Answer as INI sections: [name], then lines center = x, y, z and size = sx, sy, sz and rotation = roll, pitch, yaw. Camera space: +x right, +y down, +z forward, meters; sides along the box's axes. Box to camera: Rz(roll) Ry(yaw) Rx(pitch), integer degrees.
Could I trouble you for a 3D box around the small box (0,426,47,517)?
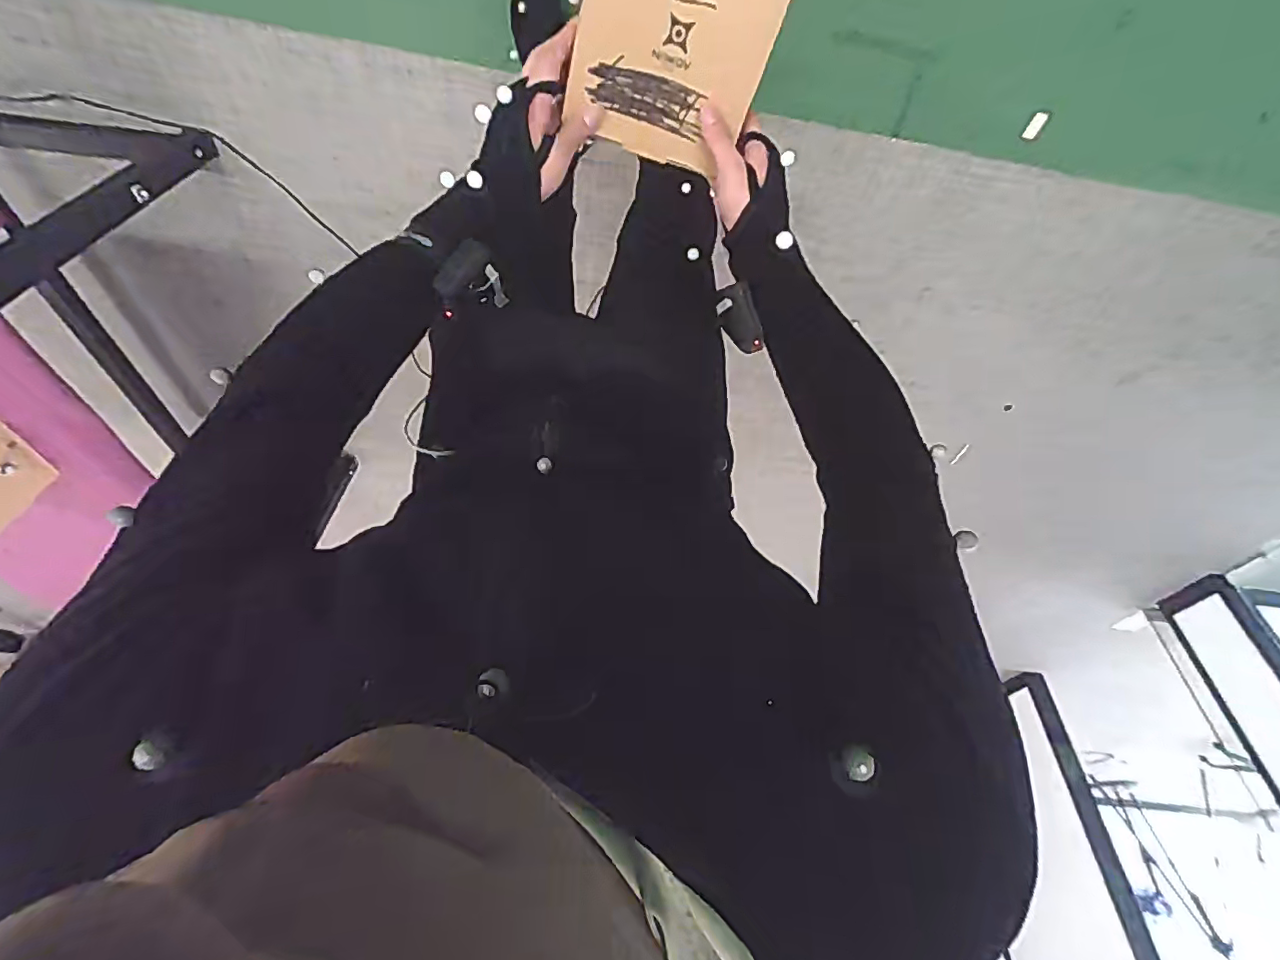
[small box]
center = -1.216, -0.010, 0.928
size = 0.179, 0.176, 0.168
rotation = 8, 141, -3
